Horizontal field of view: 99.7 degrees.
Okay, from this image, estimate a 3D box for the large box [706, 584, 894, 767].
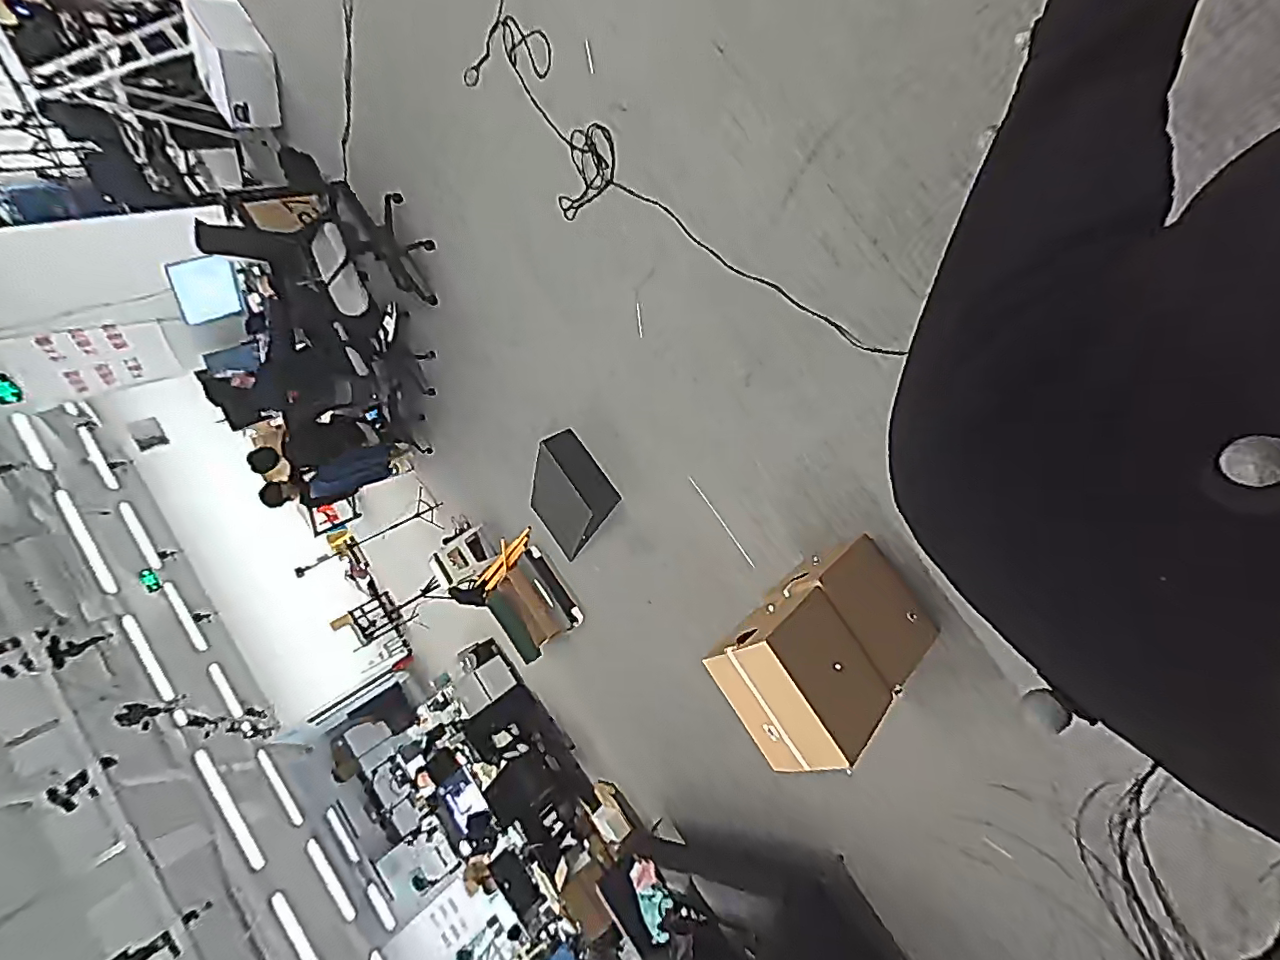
[{"bbox_3d":[0.488,0.598,1.665,0.408,0.320,0.320,55,141,6],"label":"large box"}]
